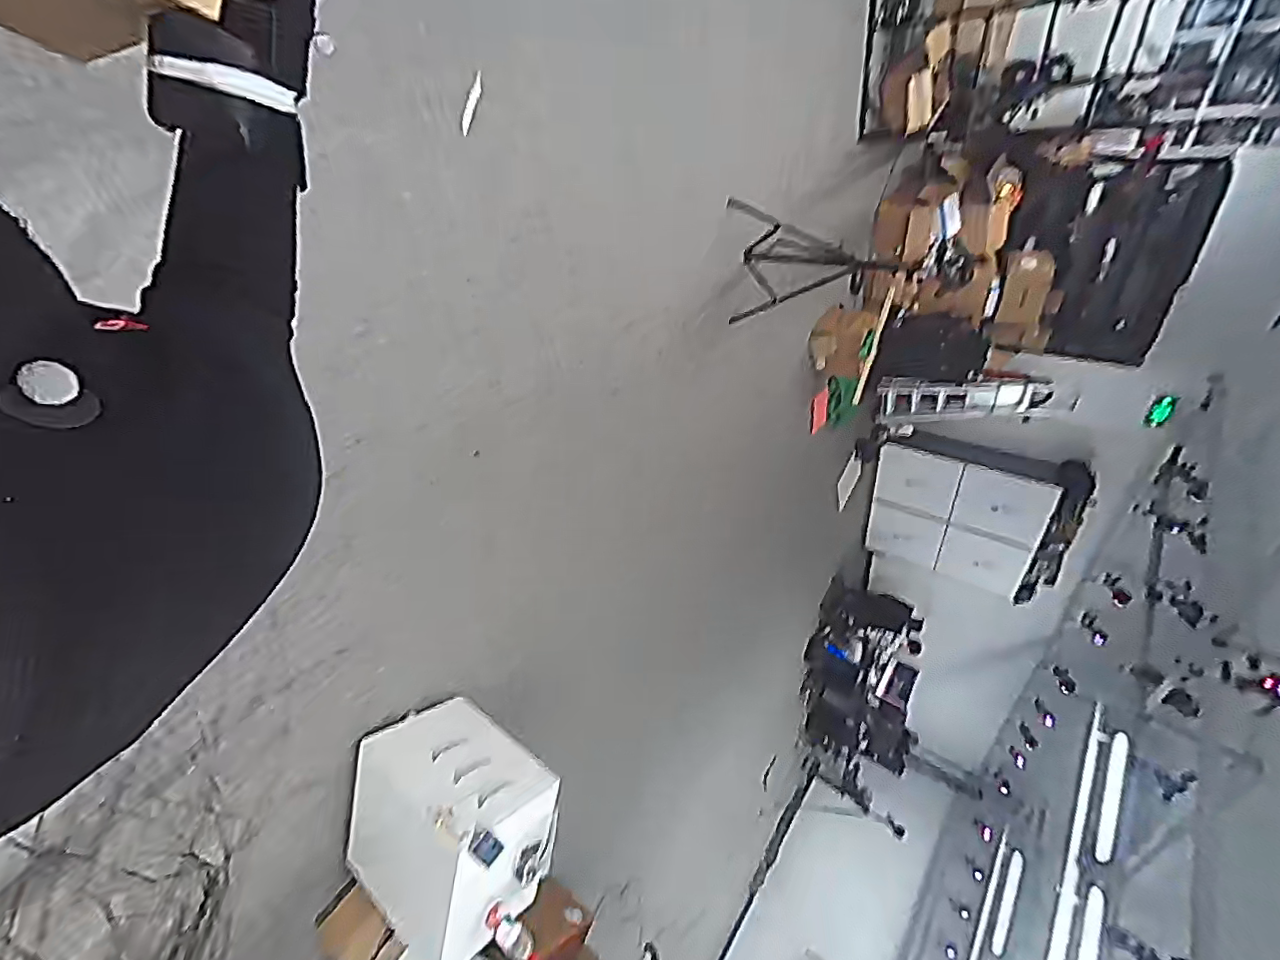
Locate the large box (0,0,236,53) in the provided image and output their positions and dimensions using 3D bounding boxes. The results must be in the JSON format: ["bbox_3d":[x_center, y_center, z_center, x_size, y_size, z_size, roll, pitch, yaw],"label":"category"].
[{"bbox_3d":[-0.447,-0.479,0.225,0.408,0.320,0.320,0,110,-58],"label":"large box"}]
